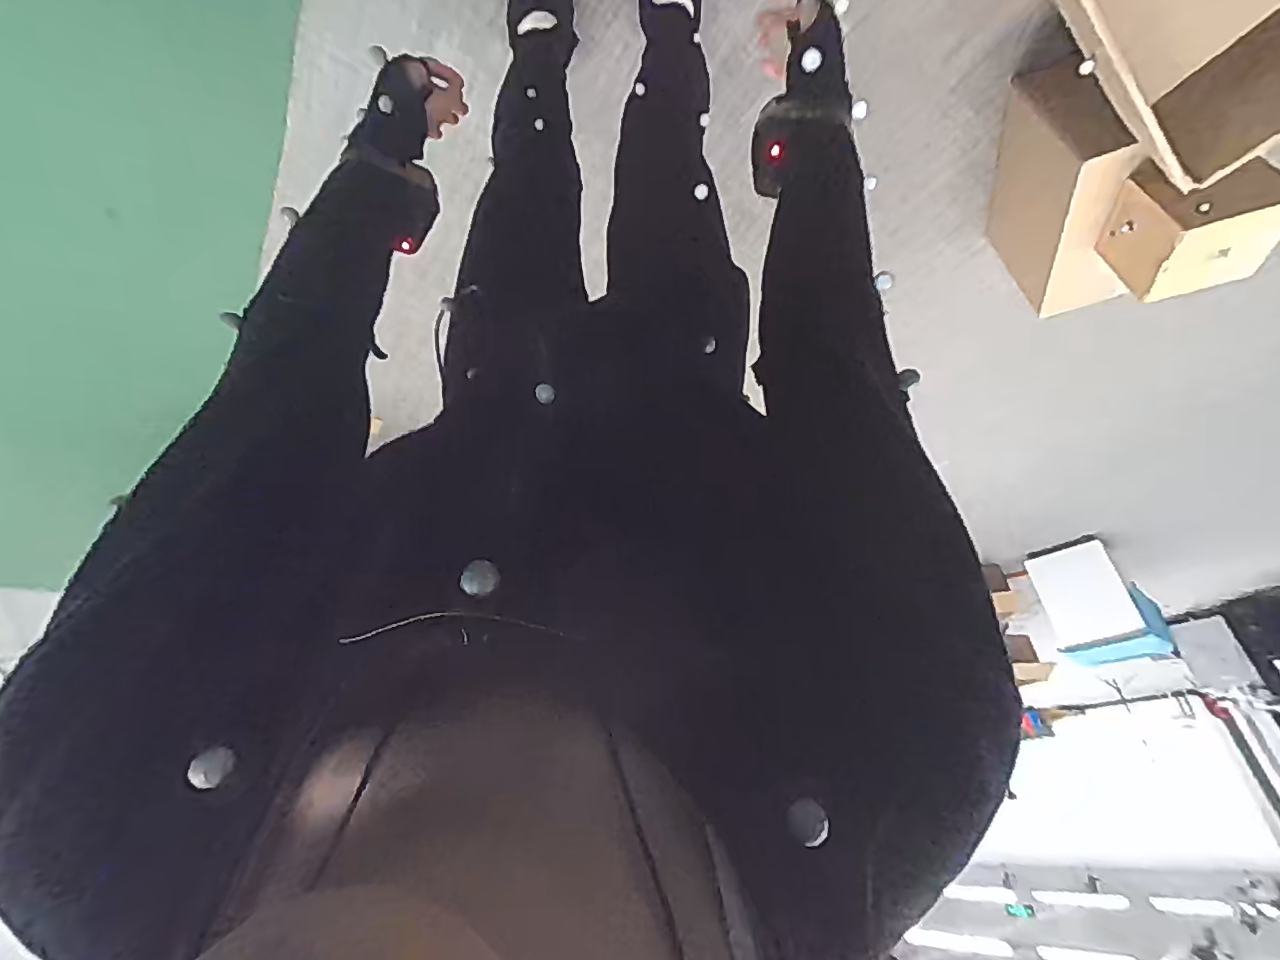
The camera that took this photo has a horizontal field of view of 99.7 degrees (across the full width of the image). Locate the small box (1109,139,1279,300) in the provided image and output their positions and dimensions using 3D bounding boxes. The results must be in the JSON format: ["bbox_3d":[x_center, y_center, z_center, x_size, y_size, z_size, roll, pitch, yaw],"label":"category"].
[{"bbox_3d":[0.994,-0.457,0.952,0.179,0.176,0.168,-13,148,14],"label":"small box"}]

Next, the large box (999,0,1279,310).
[{"bbox_3d":[0.990,-0.644,1.115,0.320,0.320,0.408,-15,148,19],"label":"large box"}]
